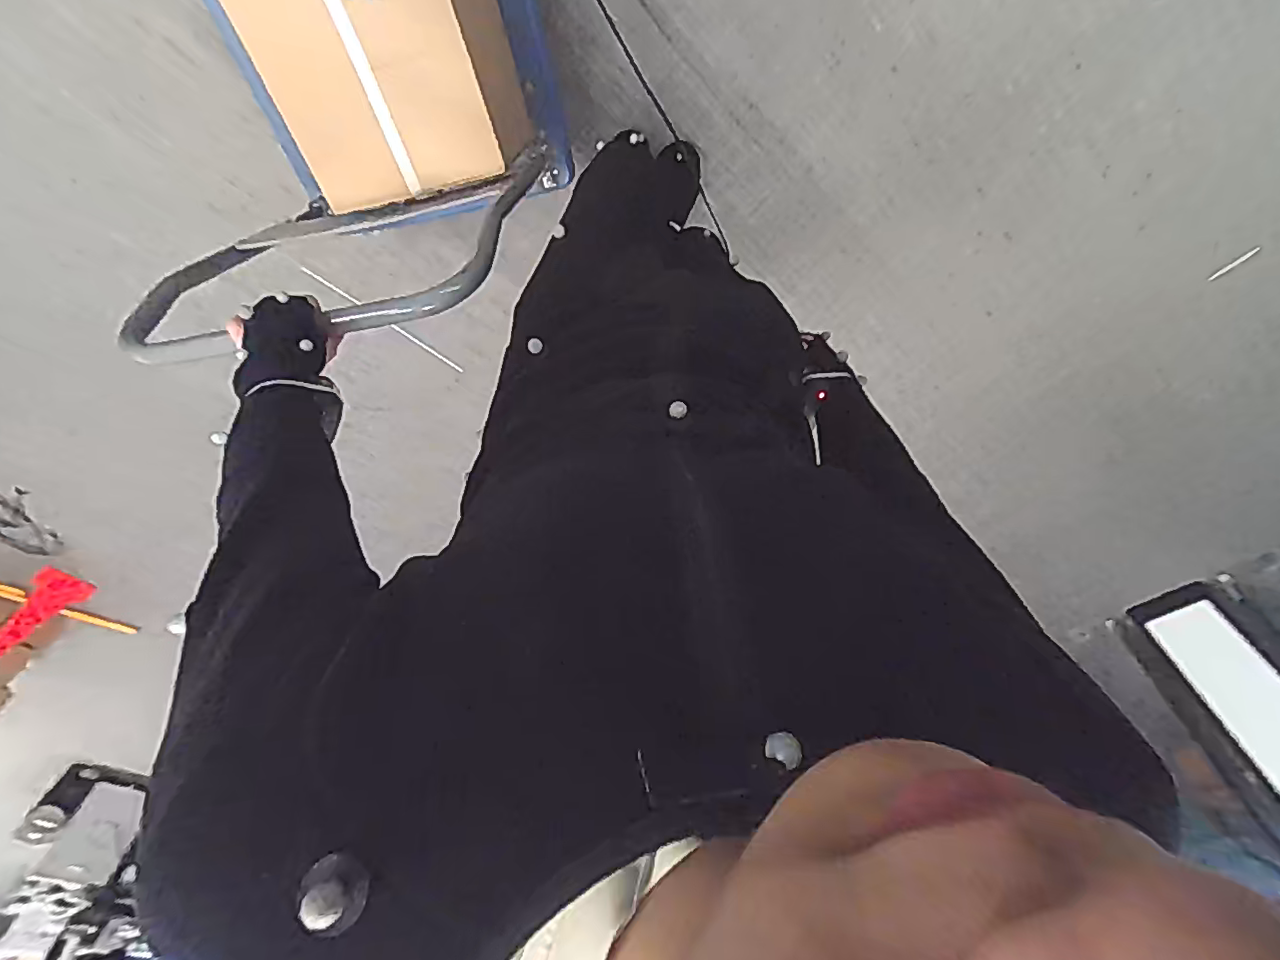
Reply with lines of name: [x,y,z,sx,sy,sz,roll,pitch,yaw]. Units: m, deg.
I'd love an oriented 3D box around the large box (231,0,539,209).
large box: [-0.392,-0.720,0.879,0.320,0.320,0.408,-9,129,7]
